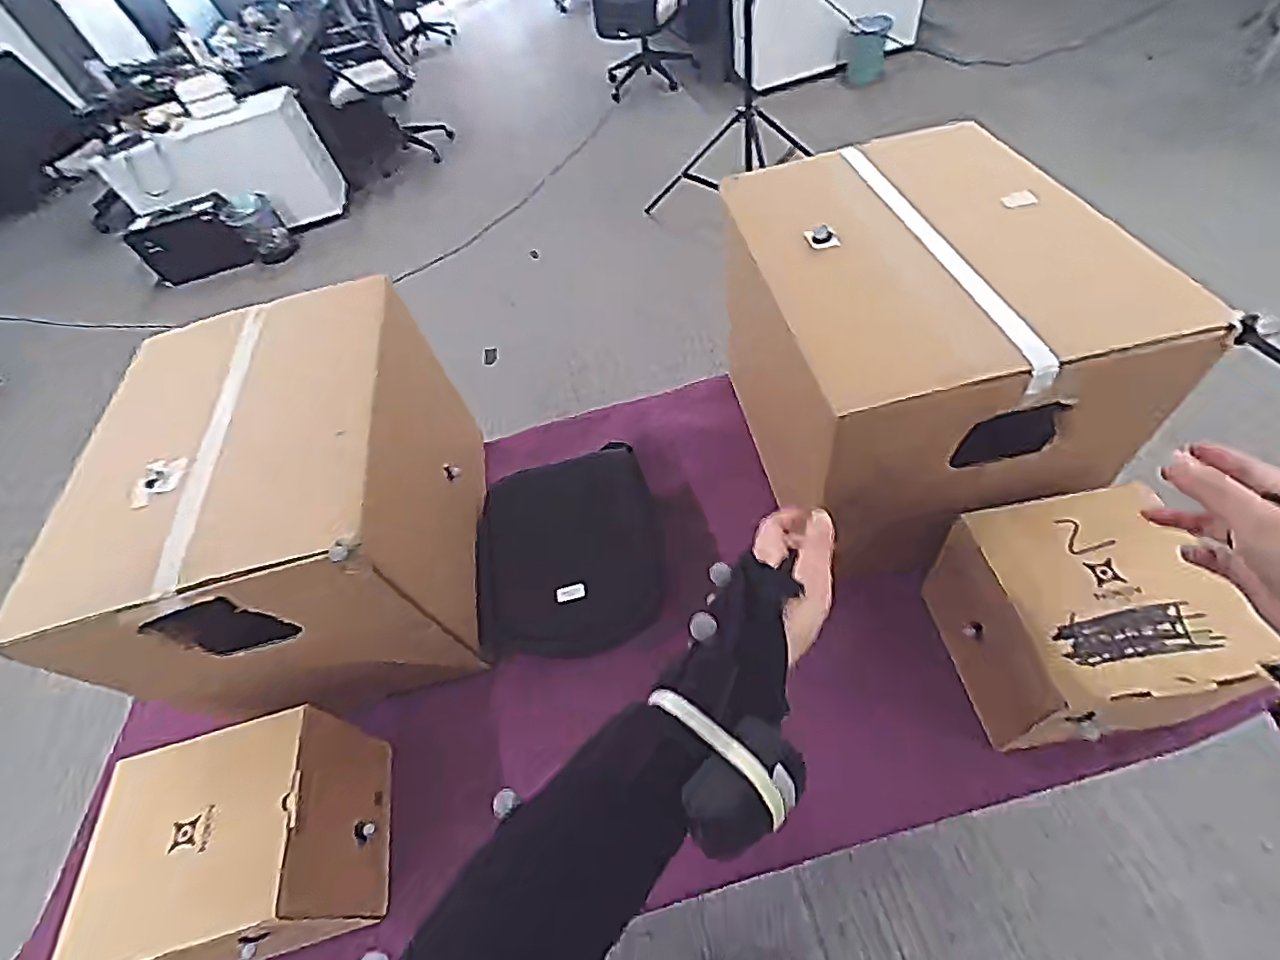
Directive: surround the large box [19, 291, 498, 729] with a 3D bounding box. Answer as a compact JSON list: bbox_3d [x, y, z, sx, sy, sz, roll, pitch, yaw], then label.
[{"bbox_3d":[-0.391,0.040,0.681,0.320,0.320,0.408,-17,54,0],"label":"large box"}]
